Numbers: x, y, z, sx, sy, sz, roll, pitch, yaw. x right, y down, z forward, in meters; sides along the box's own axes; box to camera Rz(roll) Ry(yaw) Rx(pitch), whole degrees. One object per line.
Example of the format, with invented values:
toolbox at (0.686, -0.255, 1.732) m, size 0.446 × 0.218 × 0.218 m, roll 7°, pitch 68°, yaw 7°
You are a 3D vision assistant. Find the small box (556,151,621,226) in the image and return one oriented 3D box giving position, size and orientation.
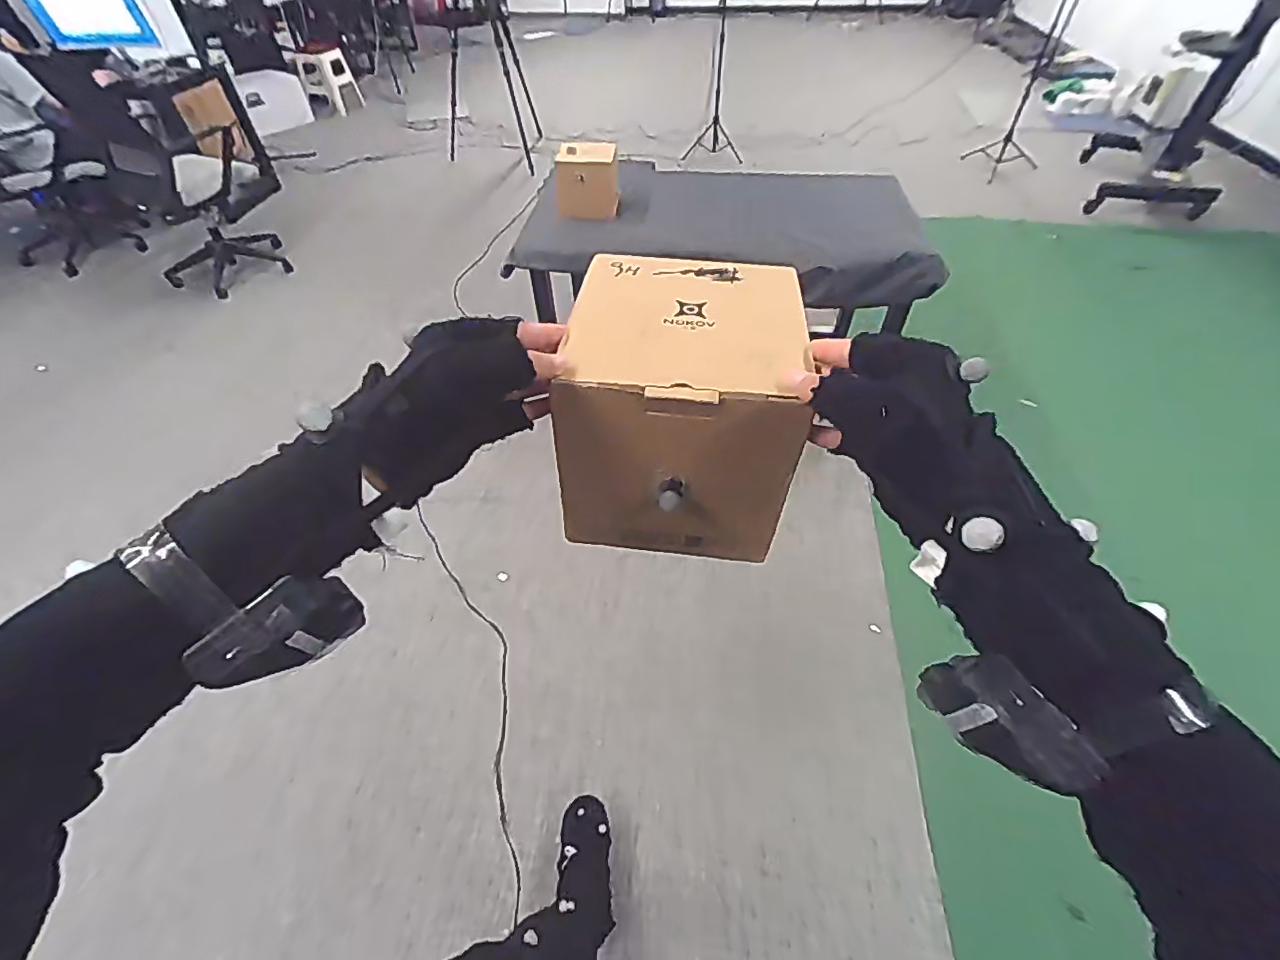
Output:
small box at (-0.157, -0.922, 1.710) m, size 0.179 × 0.176 × 0.168 m, roll 3°, pitch 48°, yaw 3°

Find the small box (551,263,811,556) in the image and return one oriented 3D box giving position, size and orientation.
small box at (0.033, -0.056, 0.447) m, size 0.168 × 0.176 × 0.179 m, roll 6°, pitch 47°, yaw 3°
